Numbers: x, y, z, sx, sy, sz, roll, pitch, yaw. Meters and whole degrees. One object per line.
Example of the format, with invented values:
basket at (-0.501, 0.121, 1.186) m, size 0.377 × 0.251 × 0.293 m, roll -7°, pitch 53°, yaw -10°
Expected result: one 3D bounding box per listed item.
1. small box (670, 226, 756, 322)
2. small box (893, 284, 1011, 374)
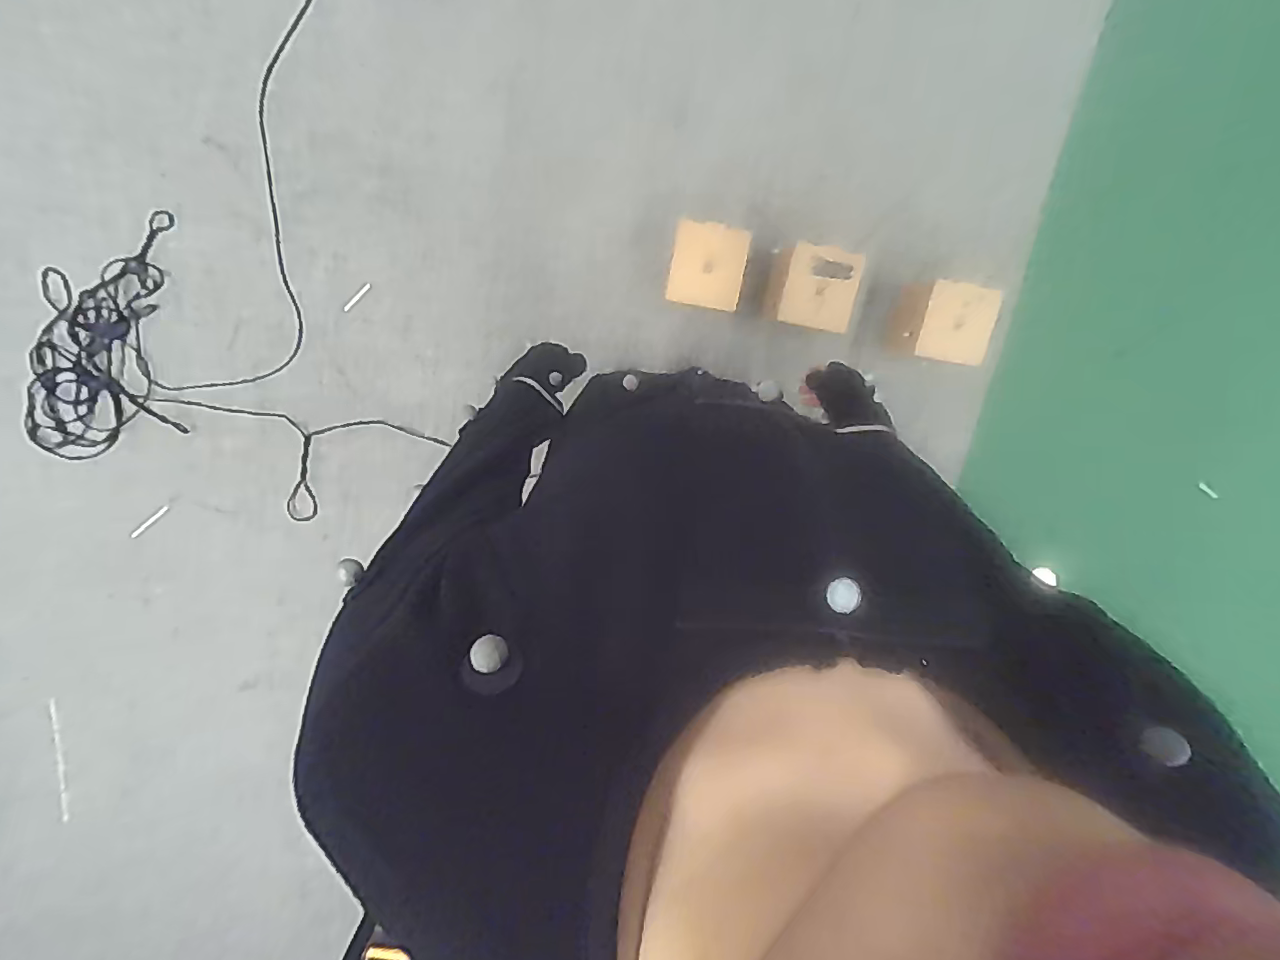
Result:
small box at (0.165, -0.480, 1.287) m, size 0.168 × 0.176 × 0.179 m, roll 10°, pitch 102°, yaw -1°
small box at (0.743, -0.361, 1.312) m, size 0.168 × 0.176 × 0.179 m, roll 10°, pitch 103°, yaw -2°
